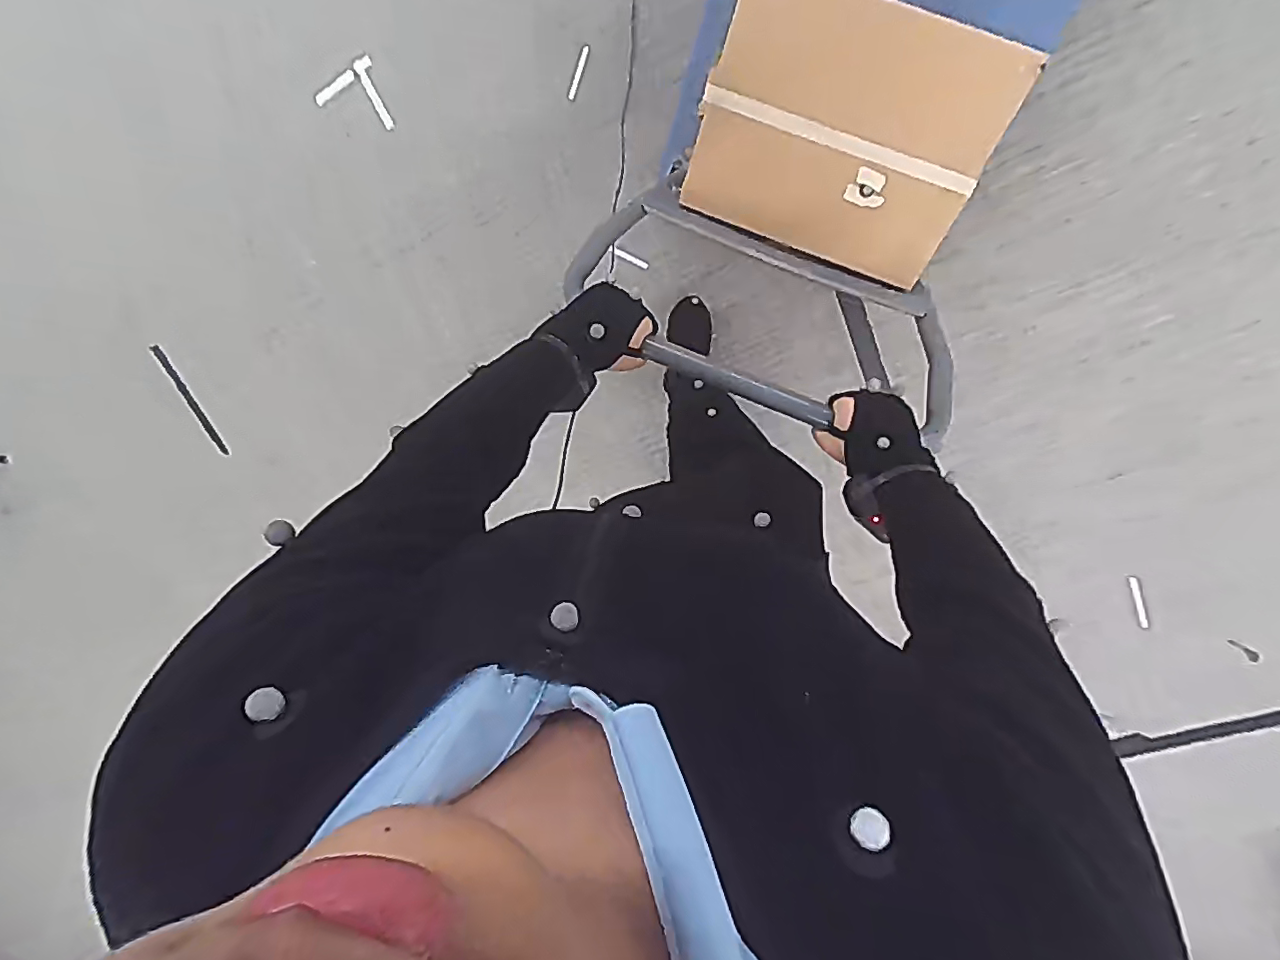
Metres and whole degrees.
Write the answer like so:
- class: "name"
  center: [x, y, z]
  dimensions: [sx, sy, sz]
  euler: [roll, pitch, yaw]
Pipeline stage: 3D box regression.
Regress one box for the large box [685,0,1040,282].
- class: "large box"
  center: [0.331, -0.586, 0.917]
  dimensions: [0.408, 0.320, 0.320]
  euler: [22, 128, 2]
